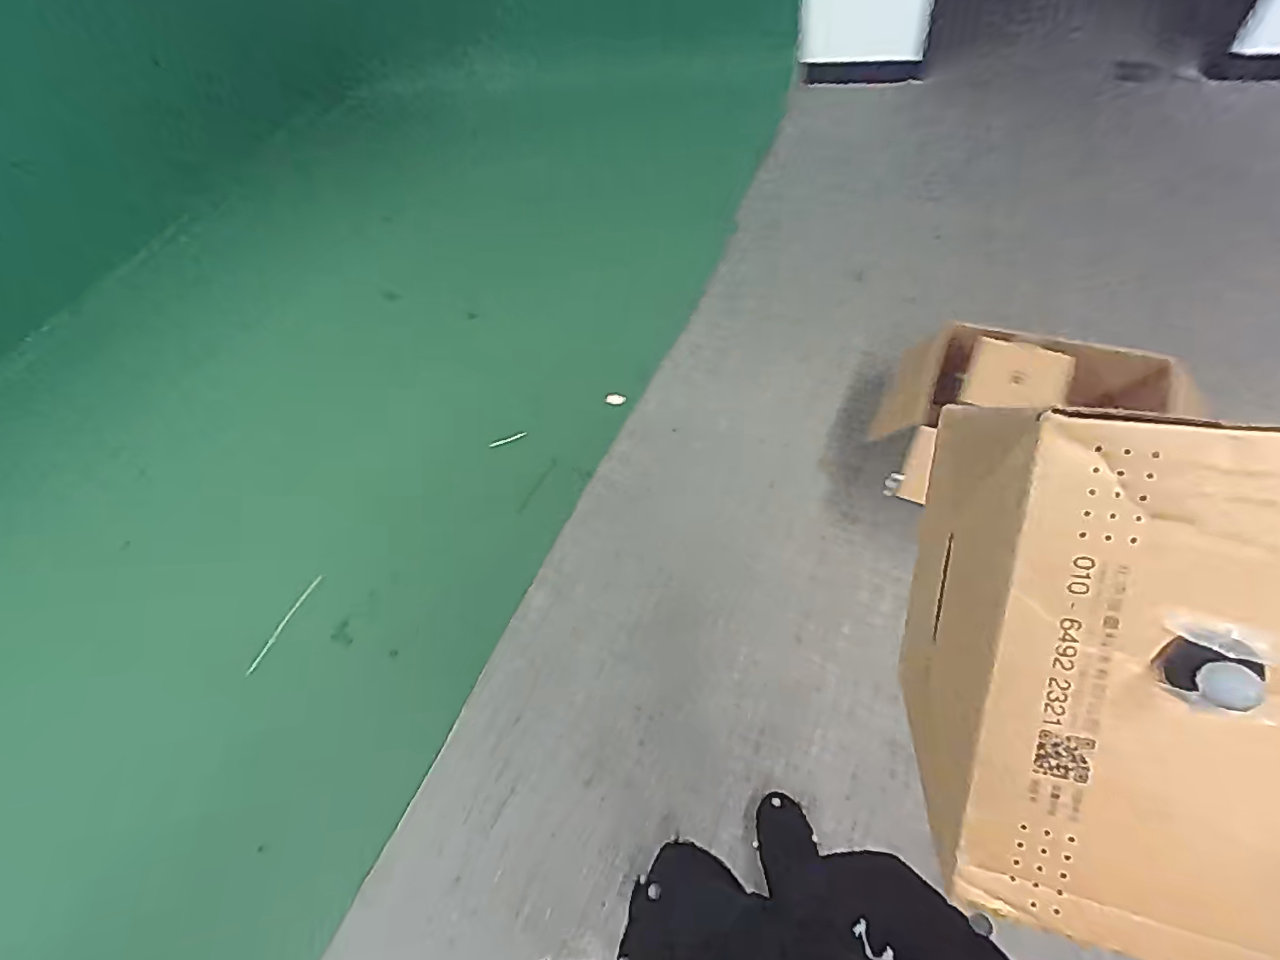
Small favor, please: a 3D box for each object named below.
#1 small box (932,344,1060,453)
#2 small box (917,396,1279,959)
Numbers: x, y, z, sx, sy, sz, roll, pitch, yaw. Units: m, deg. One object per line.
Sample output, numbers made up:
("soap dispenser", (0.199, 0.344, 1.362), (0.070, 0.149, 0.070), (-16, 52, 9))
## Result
("small box", (0.755, -0.156, 1.163), (0.168, 0.176, 0.179), (21, 70, 21))
("small box", (0.225, 0.057, 0.223), (0.176, 0.179, 0.168), (10, 100, 19))
